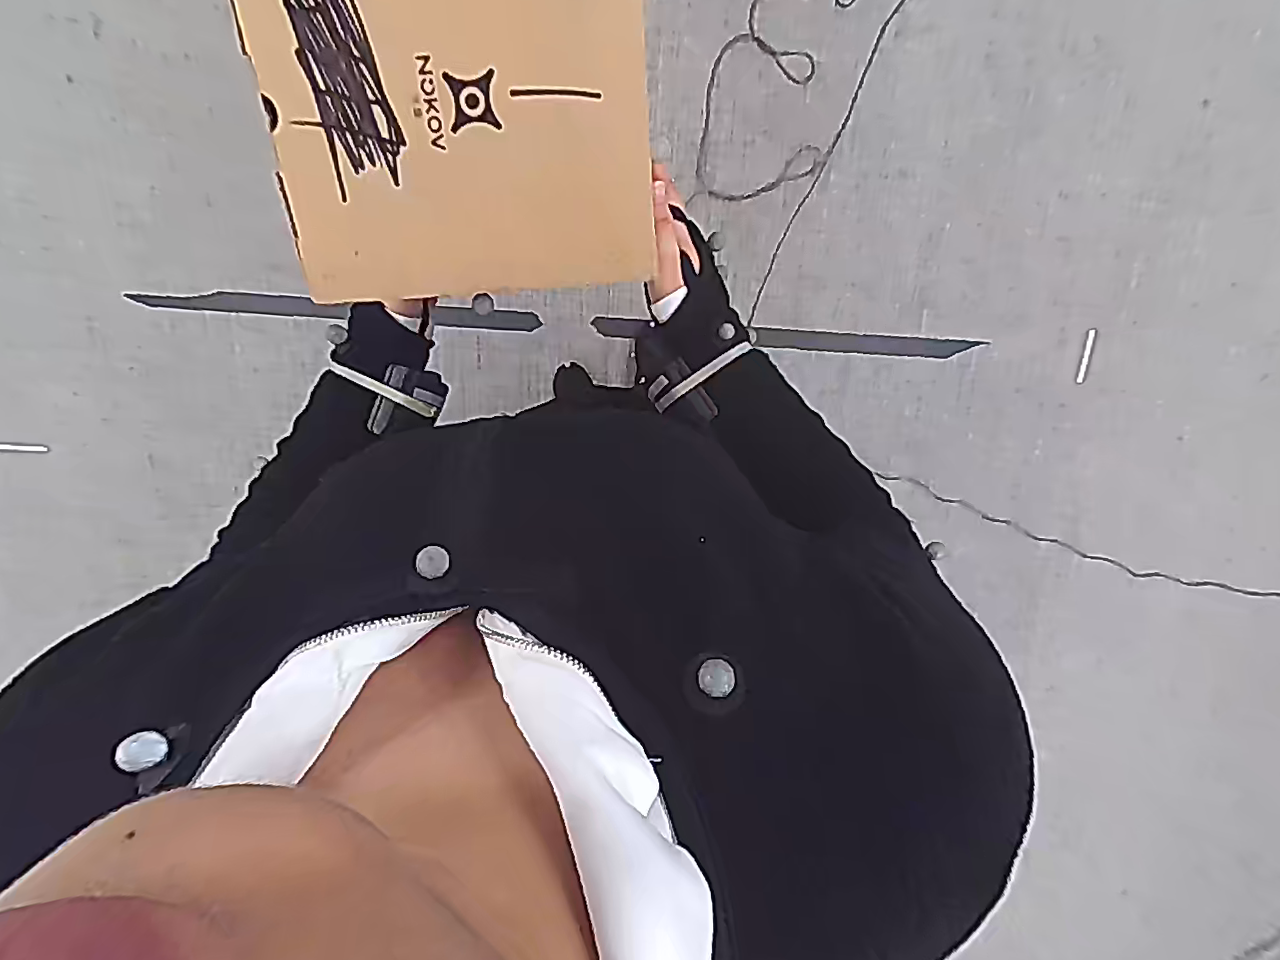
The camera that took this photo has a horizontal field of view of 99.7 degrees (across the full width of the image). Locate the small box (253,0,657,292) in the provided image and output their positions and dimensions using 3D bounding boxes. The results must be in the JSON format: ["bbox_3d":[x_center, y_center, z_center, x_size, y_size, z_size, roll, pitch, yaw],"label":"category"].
[{"bbox_3d":[-0.083,-0.205,0.325,0.179,0.176,0.168,-4,112,0],"label":"small box"}]
